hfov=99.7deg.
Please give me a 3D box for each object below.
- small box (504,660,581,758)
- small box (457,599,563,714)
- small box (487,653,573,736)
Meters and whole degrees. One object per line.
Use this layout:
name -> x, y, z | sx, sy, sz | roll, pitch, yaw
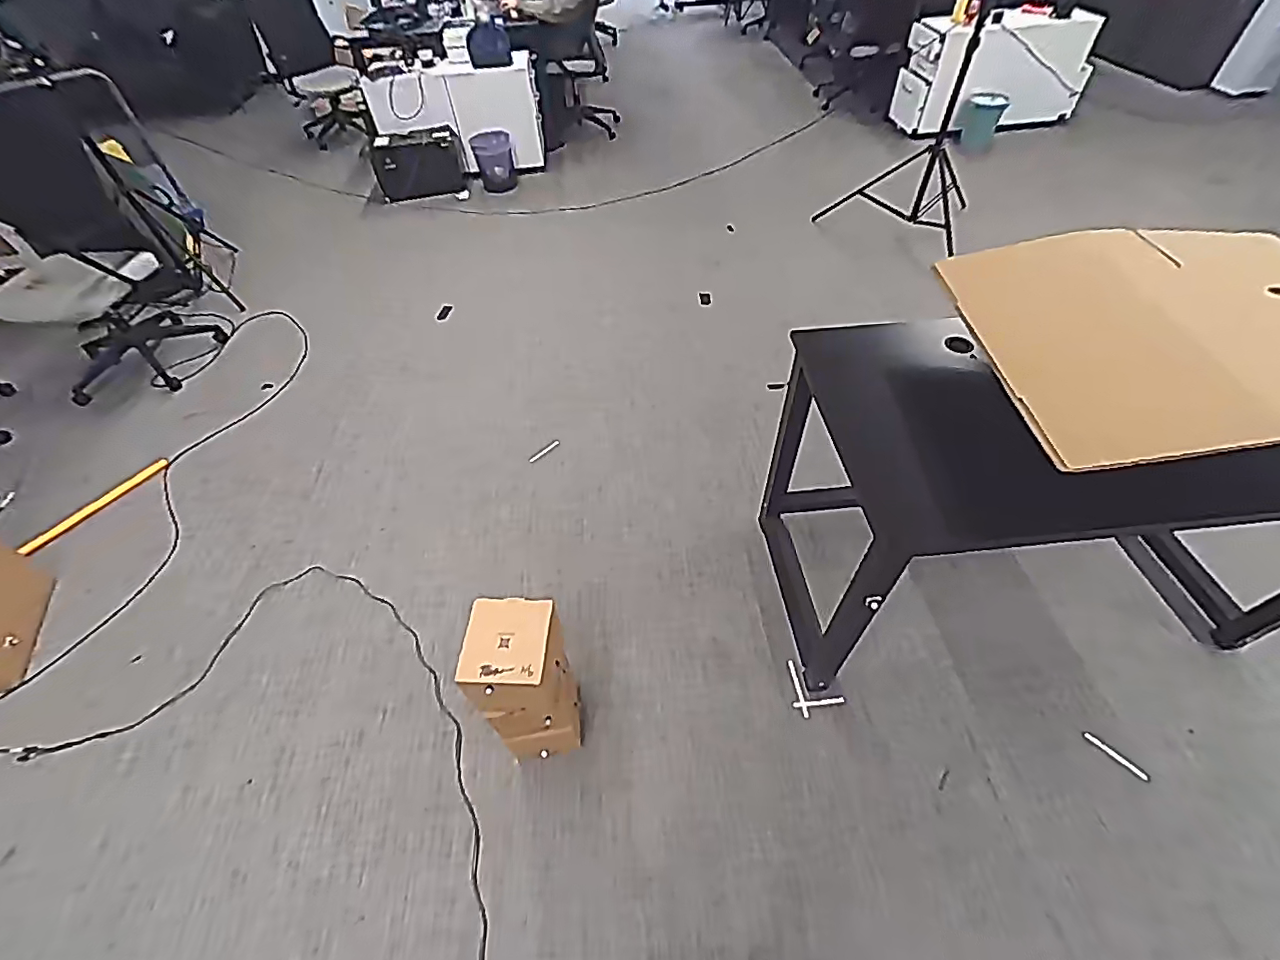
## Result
small box -> -0.244, 0.583, 1.372 | 0.168, 0.176, 0.179 | -8, 51, -3
small box -> -0.259, 0.368, 1.127 | 0.168, 0.176, 0.179 | 0, 49, 3
small box -> -0.255, 0.474, 1.253 | 0.168, 0.176, 0.179 | -10, 49, -7
